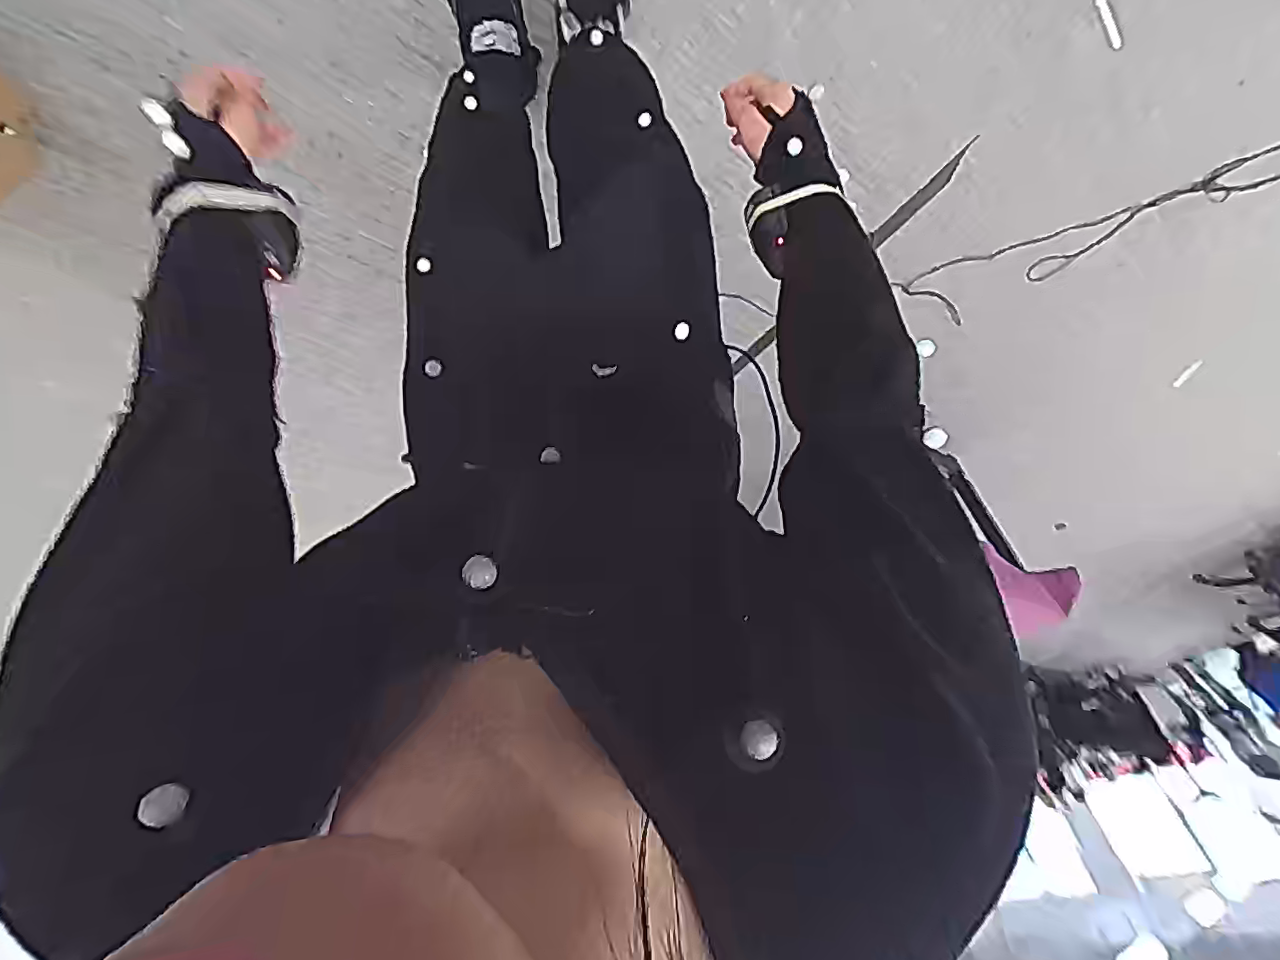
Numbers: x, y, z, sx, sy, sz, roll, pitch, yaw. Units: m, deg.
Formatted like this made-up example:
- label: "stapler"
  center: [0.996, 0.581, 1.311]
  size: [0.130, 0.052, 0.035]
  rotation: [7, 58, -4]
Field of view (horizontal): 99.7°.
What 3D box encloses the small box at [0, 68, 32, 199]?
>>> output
- label: "small box"
  center: [-1.135, -0.590, 0.866]
  size: [0.179, 0.176, 0.168]
  rotation: [16, 136, -30]
